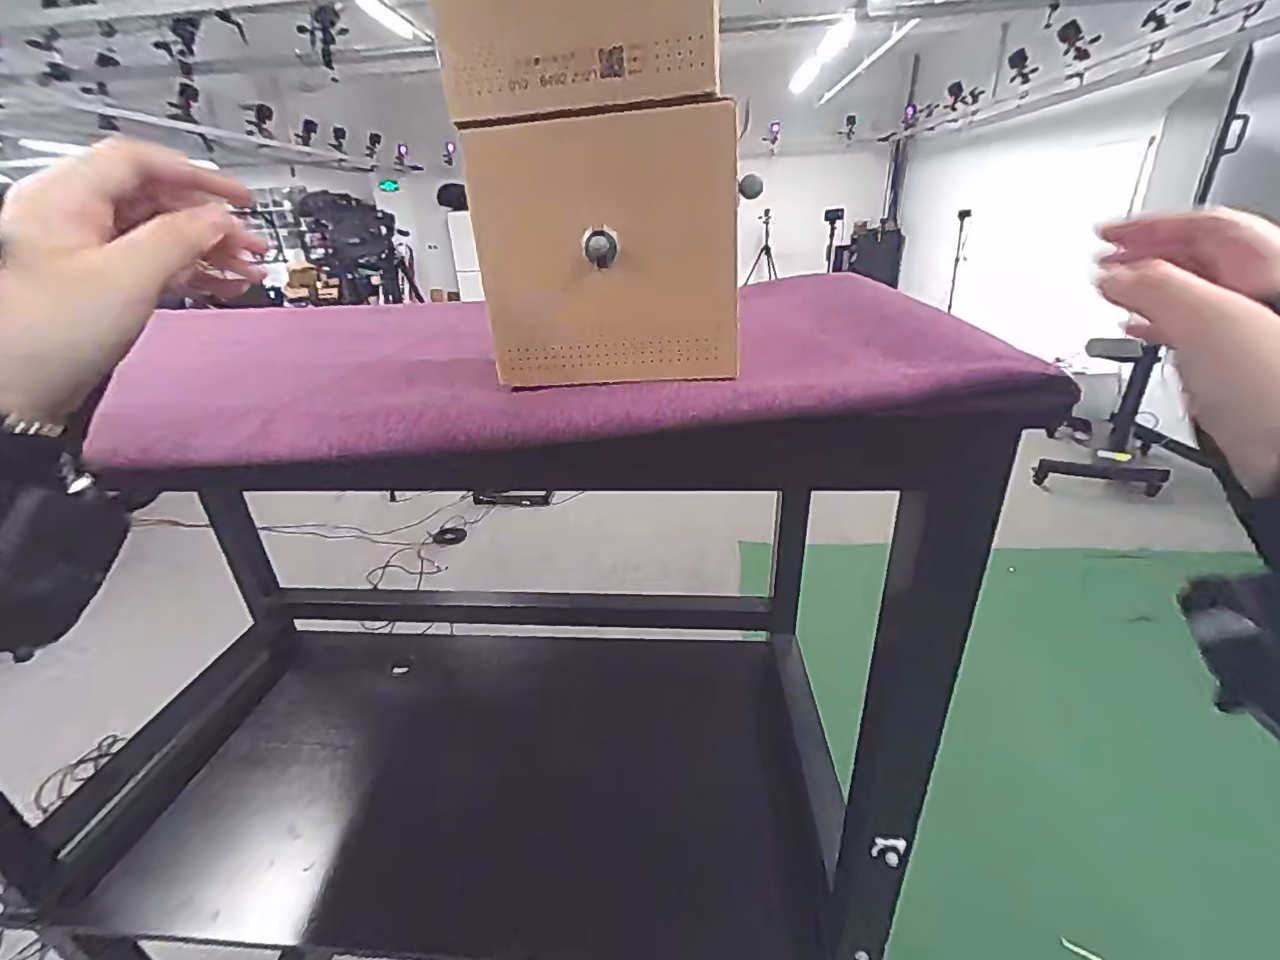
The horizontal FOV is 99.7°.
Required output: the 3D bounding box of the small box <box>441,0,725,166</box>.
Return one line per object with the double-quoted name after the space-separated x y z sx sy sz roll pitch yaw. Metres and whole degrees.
-0.028 -0.325 0.364 0.168 0.176 0.179 -1 23 7 "small box"
